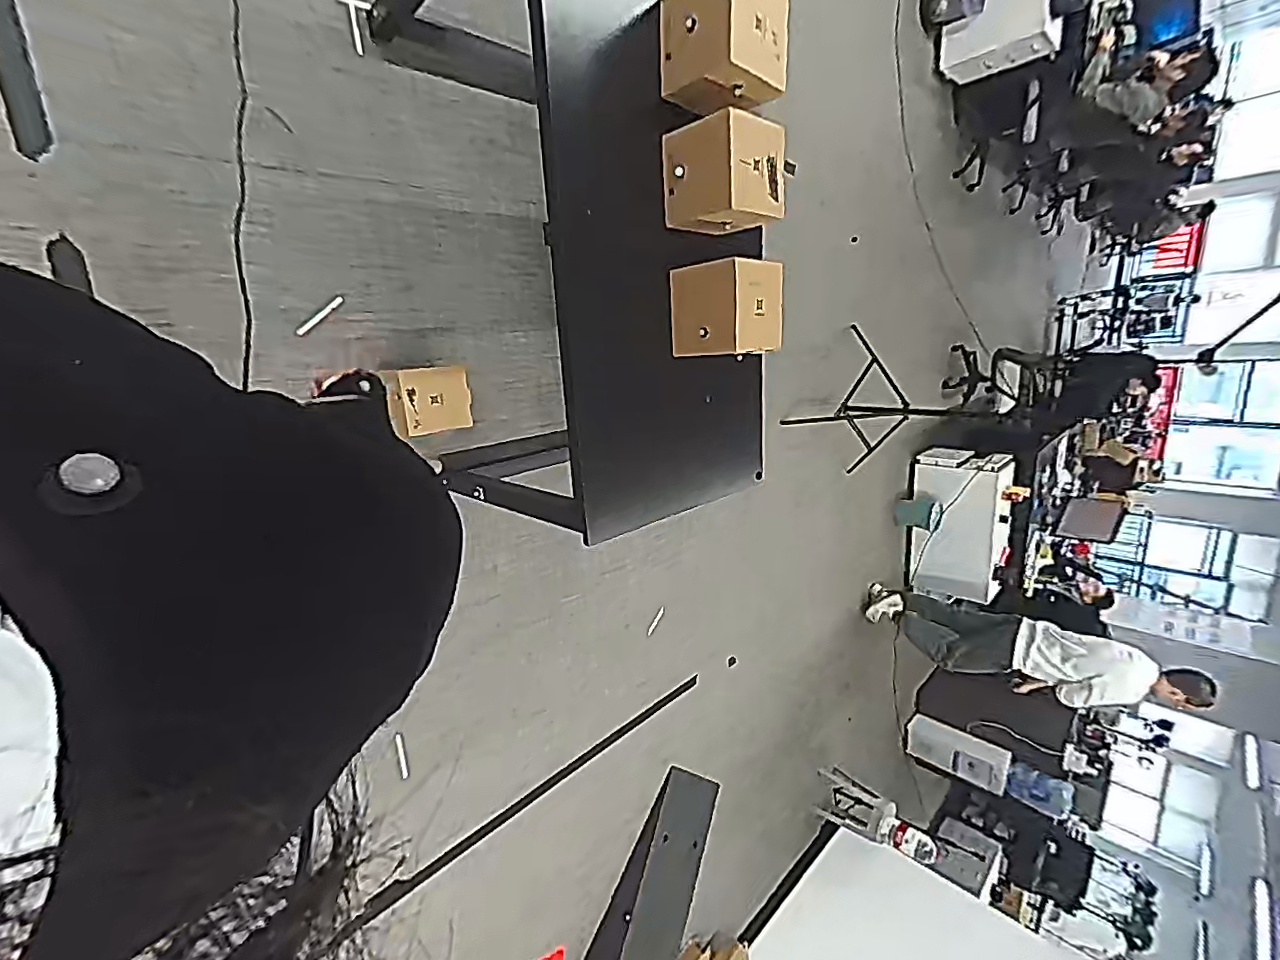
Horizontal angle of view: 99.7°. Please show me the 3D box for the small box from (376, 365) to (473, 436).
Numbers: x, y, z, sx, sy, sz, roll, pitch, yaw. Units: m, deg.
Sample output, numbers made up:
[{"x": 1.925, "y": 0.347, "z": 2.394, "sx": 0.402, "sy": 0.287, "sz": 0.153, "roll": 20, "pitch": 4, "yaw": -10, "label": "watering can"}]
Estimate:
[{"x": -0.572, "y": -0.216, "z": 1.438, "sx": 0.179, "sy": 0.176, "sz": 0.168, "roll": -18, "pitch": 109, "yaw": -42, "label": "small box"}]

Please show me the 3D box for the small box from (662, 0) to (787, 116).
[{"x": 0.153, "y": -0.815, "z": 1.009, "sx": 0.179, "sy": 0.176, "sz": 0.168, "roll": -13, "pitch": 107, "yaw": -43, "label": "small box"}]

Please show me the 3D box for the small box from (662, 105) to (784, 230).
[{"x": 0.163, "y": -0.596, "z": 1.057, "sx": 0.179, "sy": 0.176, "sz": 0.168, "roll": -17, "pitch": 109, "yaw": -40, "label": "small box"}]

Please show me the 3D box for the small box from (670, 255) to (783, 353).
[{"x": 0.178, "y": -0.355, "z": 1.120, "sx": 0.168, "sy": 0.176, "sz": 0.179, "roll": -17, "pitch": 108, "yaw": -43, "label": "small box"}]
